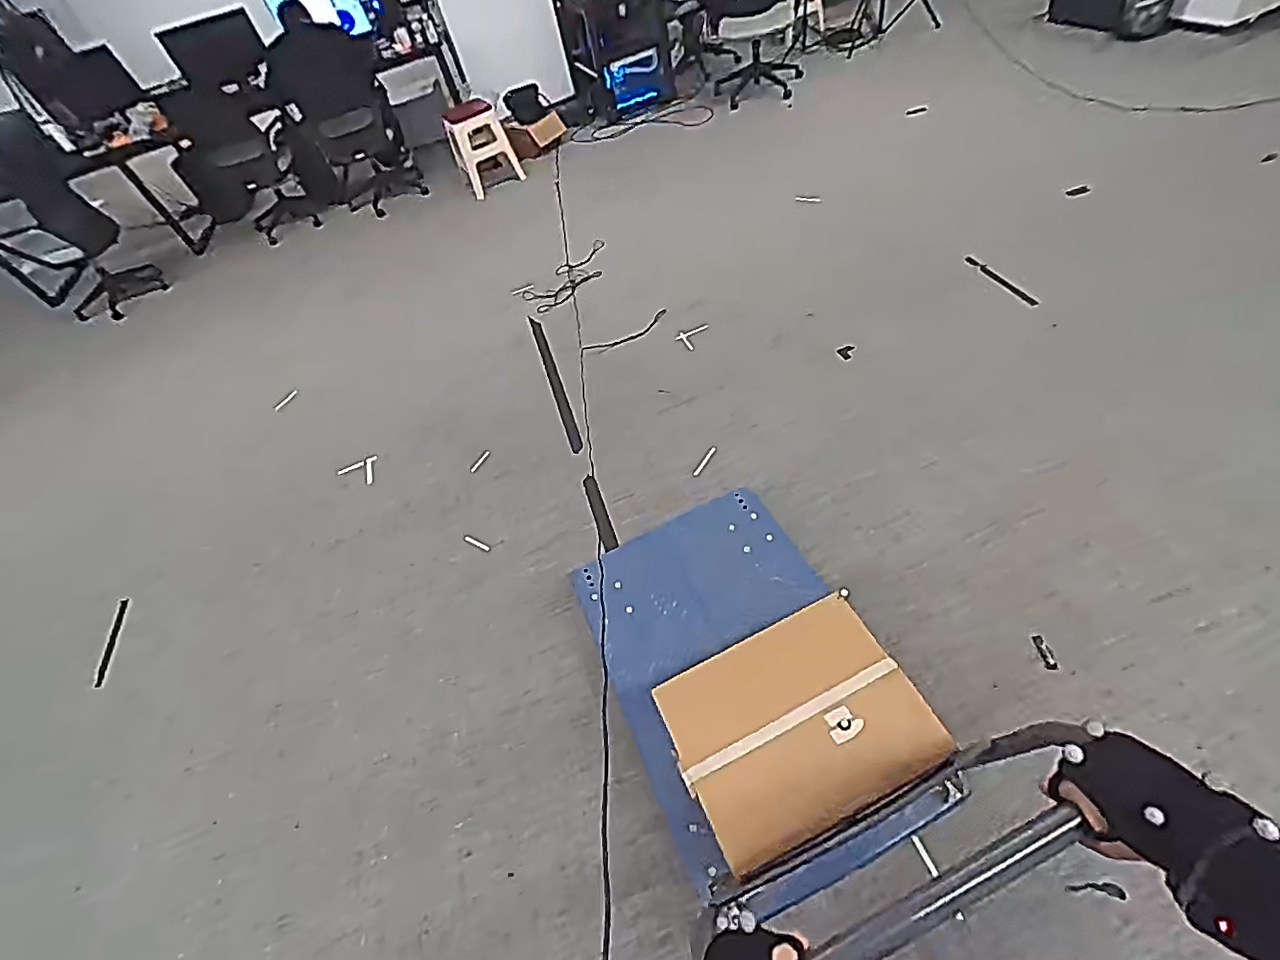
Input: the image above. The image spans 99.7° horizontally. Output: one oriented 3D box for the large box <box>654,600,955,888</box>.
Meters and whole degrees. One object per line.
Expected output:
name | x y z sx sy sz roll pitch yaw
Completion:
large box | 0.287 0.504 1.029 0.408 0.320 0.320 -26 53 -6
